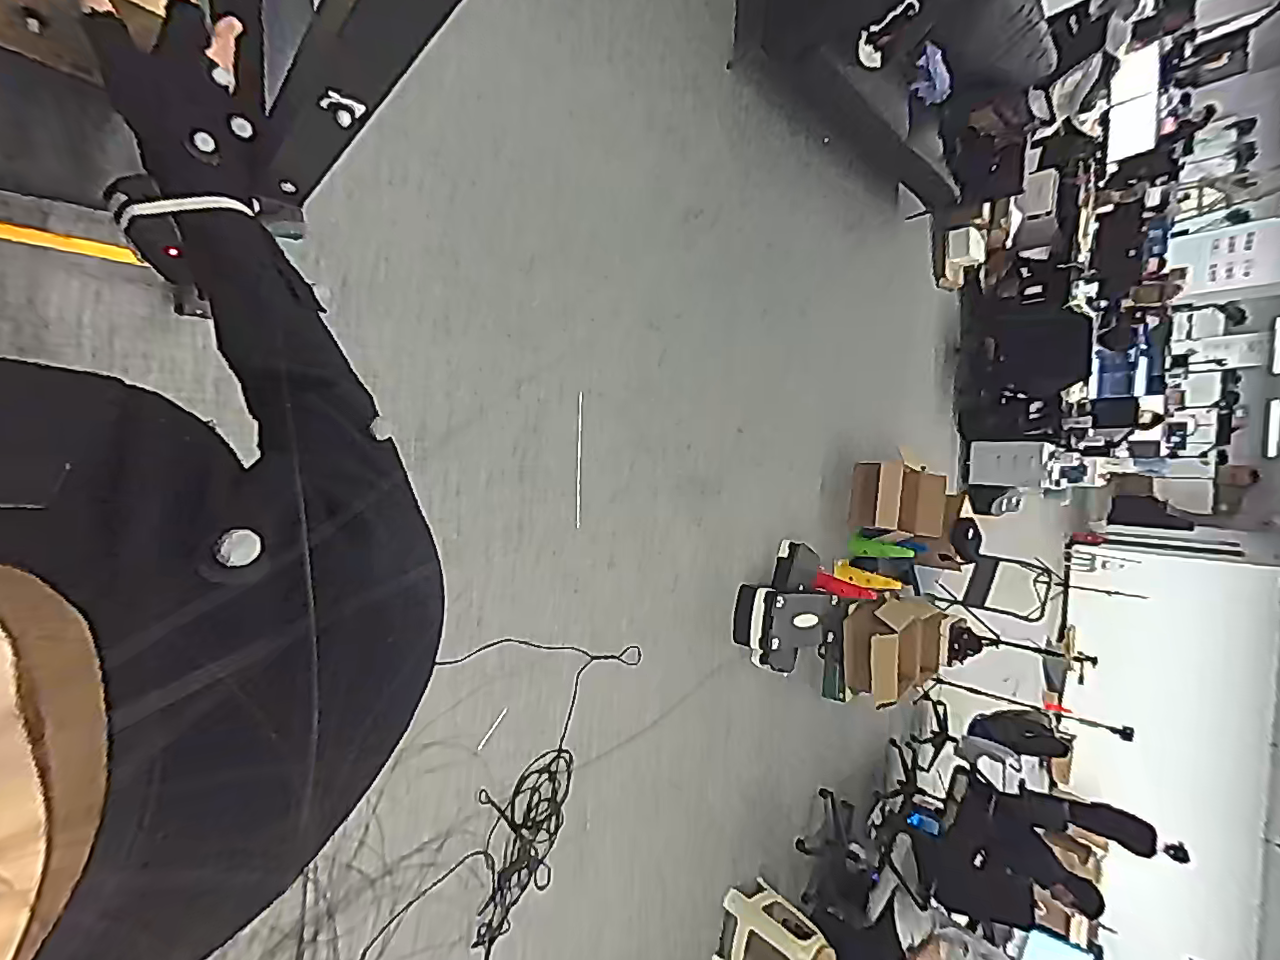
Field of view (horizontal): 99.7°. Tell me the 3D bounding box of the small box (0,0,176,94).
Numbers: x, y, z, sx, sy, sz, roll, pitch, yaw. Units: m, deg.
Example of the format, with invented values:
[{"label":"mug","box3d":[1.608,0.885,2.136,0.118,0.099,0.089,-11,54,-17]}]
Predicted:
[{"label":"small box","box3d":[-0.508,-0.488,0.467,0.168,0.176,0.179,4,89,-45]}]
